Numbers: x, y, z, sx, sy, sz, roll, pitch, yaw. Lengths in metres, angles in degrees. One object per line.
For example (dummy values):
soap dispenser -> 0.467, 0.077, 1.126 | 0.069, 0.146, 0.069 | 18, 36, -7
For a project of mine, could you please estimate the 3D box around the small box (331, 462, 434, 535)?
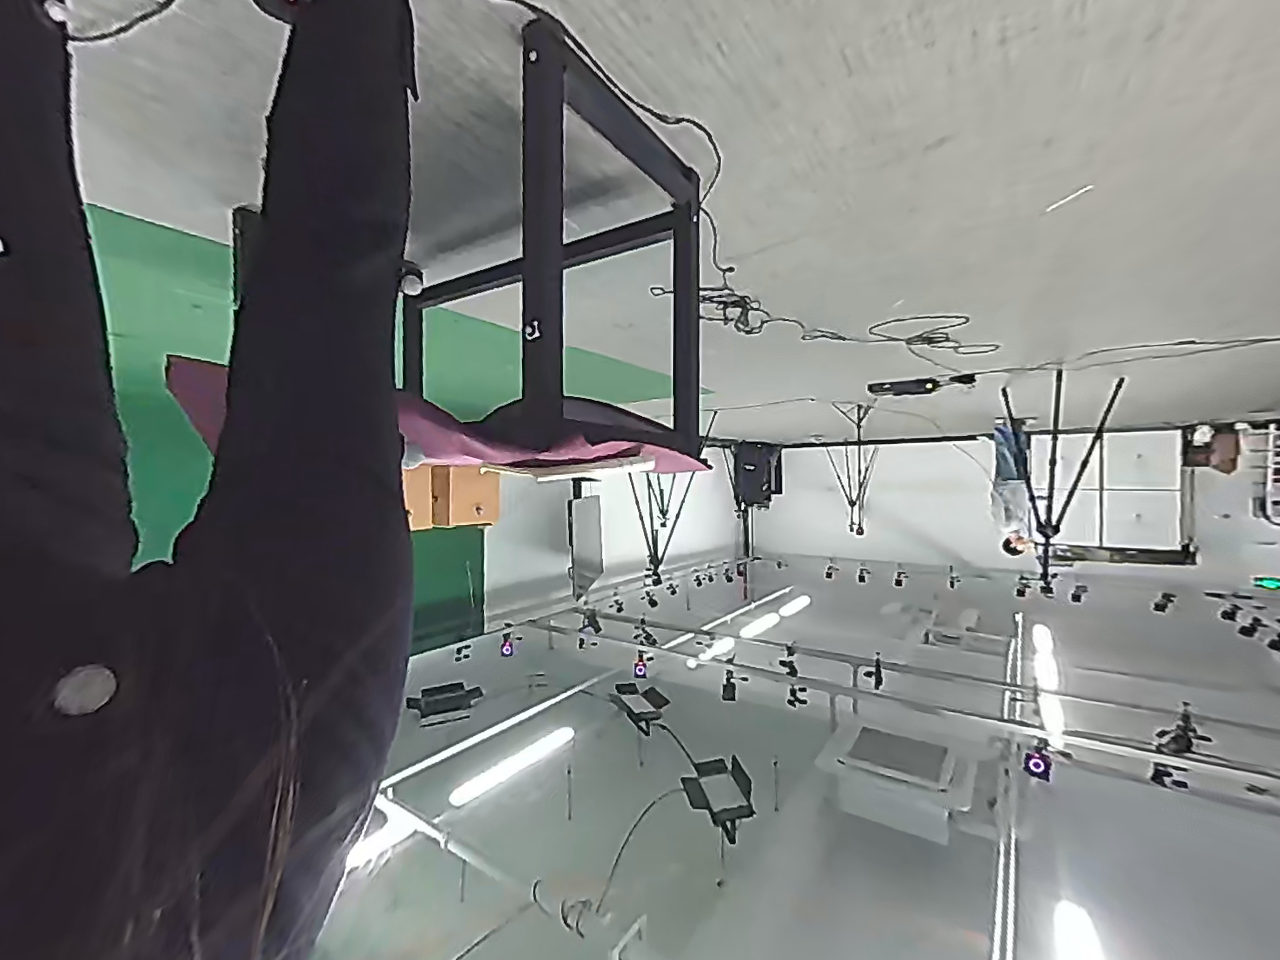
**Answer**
small box -> -0.636, 0.041, 1.344 | 0.168, 0.176, 0.179 | -1, 180, 28

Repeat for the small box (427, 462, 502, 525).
small box -> -0.515, 0.037, 1.538 | 0.168, 0.176, 0.179 | -1, 180, 34
